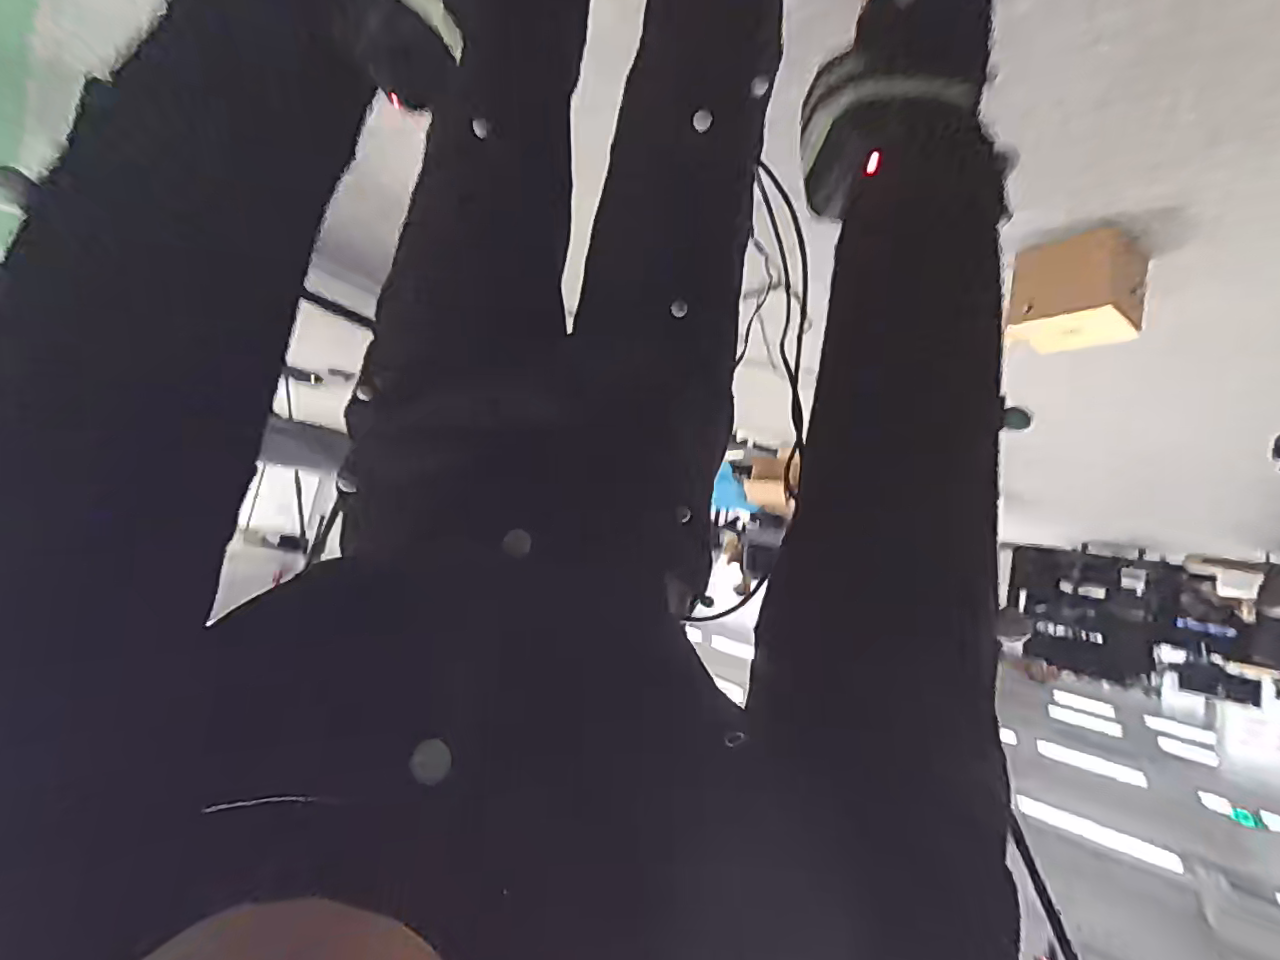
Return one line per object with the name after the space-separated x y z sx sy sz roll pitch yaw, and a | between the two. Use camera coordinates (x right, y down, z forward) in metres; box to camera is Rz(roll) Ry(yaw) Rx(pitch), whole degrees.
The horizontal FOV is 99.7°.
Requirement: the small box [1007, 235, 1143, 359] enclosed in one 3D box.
0.887 -0.367 1.101 0.168 0.176 0.179 15 173 -30 | small box
